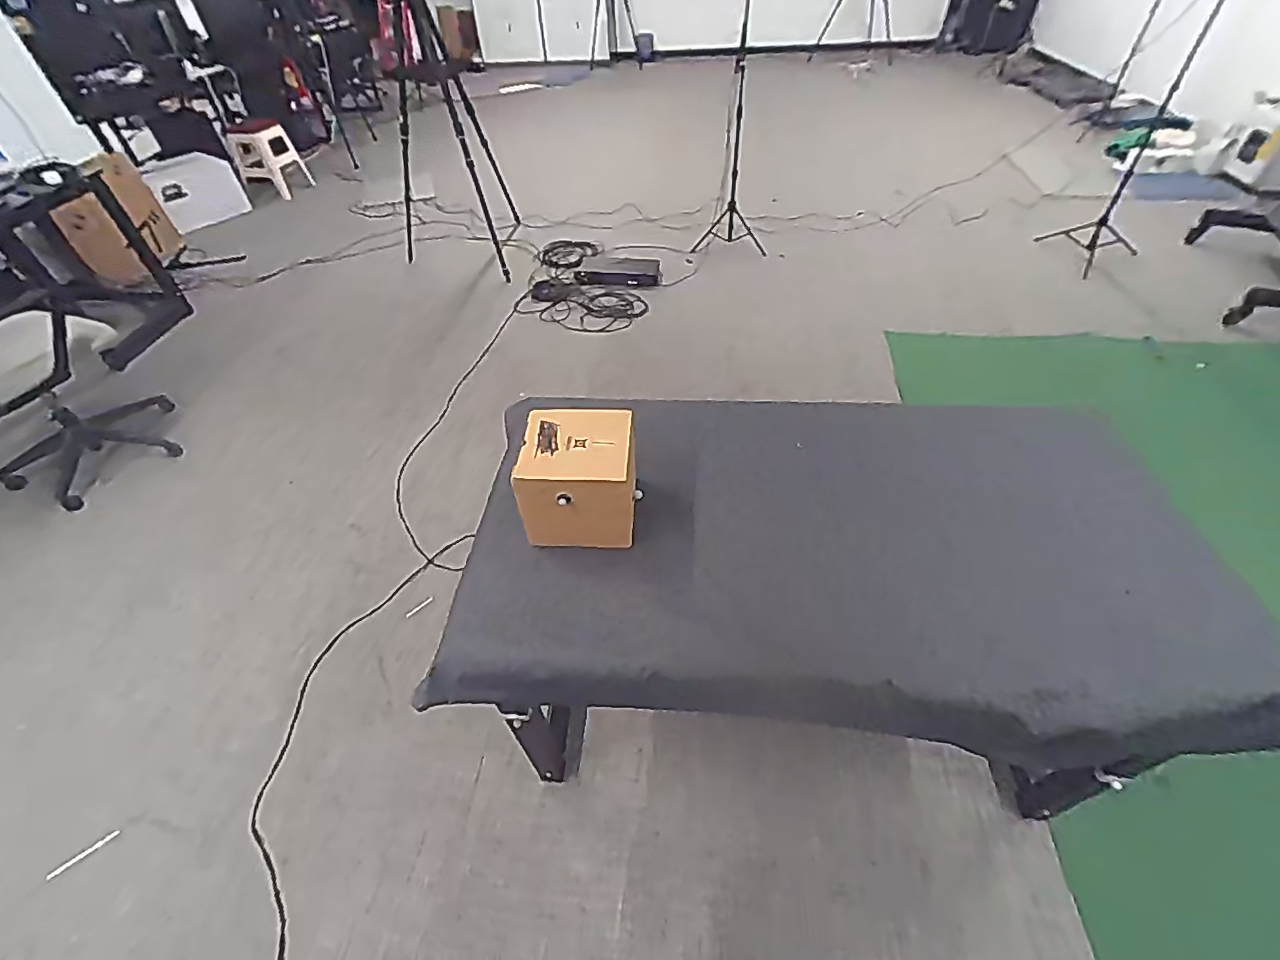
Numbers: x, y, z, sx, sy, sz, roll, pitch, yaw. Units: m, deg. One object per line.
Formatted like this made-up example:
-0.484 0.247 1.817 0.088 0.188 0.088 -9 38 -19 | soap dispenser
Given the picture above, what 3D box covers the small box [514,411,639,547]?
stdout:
-0.096 0.000 0.917 0.179 0.176 0.168 1 47 3 | small box
